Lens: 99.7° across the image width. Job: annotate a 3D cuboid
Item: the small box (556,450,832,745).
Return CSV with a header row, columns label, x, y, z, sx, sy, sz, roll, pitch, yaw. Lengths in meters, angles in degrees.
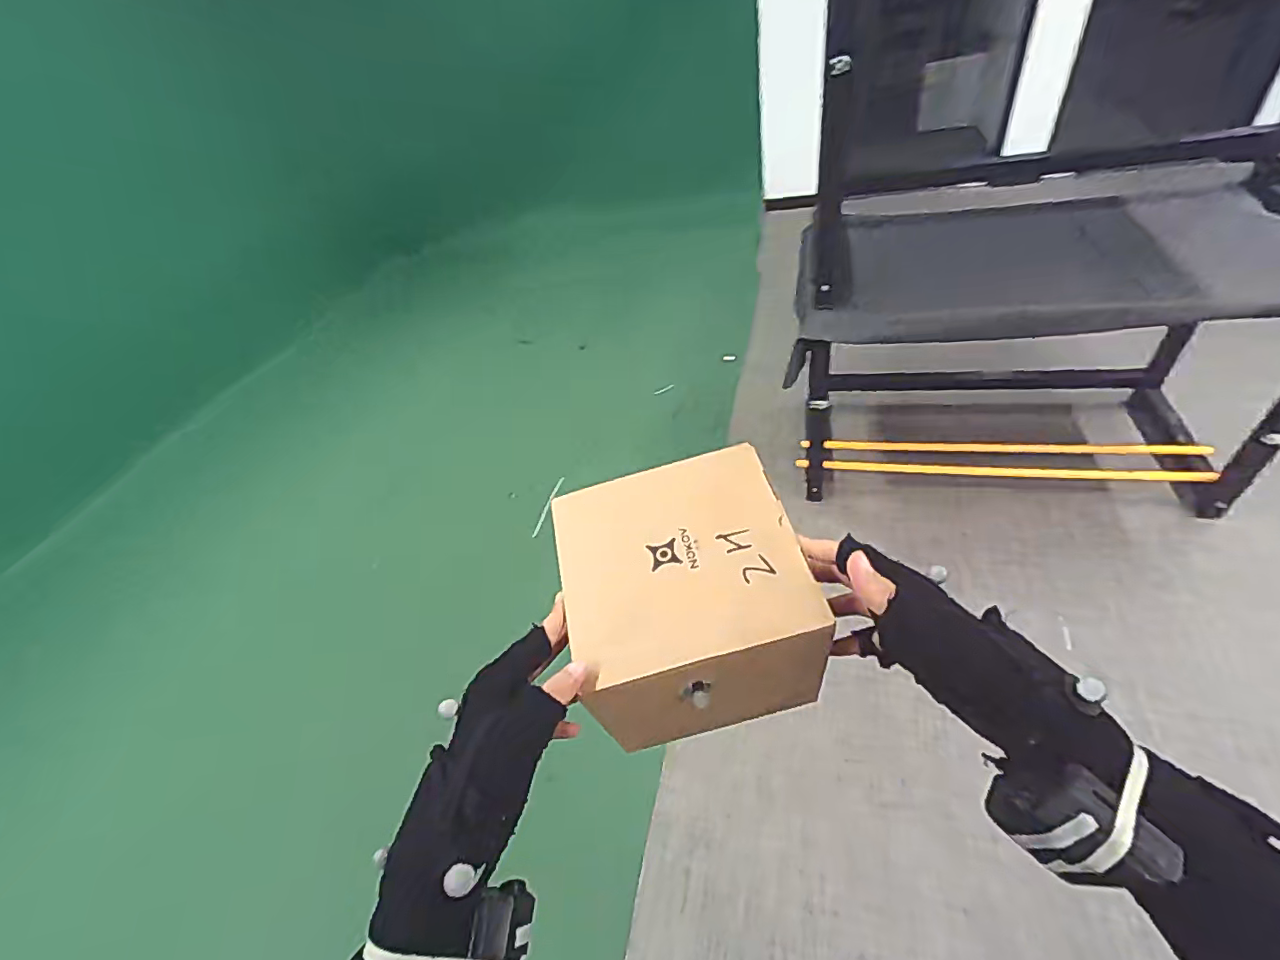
label,x,y,z,sx,sy,sz,roll,pitch,yaw
small box,0.043,0.106,0.460,0.179,0.176,0.168,-15,51,1
